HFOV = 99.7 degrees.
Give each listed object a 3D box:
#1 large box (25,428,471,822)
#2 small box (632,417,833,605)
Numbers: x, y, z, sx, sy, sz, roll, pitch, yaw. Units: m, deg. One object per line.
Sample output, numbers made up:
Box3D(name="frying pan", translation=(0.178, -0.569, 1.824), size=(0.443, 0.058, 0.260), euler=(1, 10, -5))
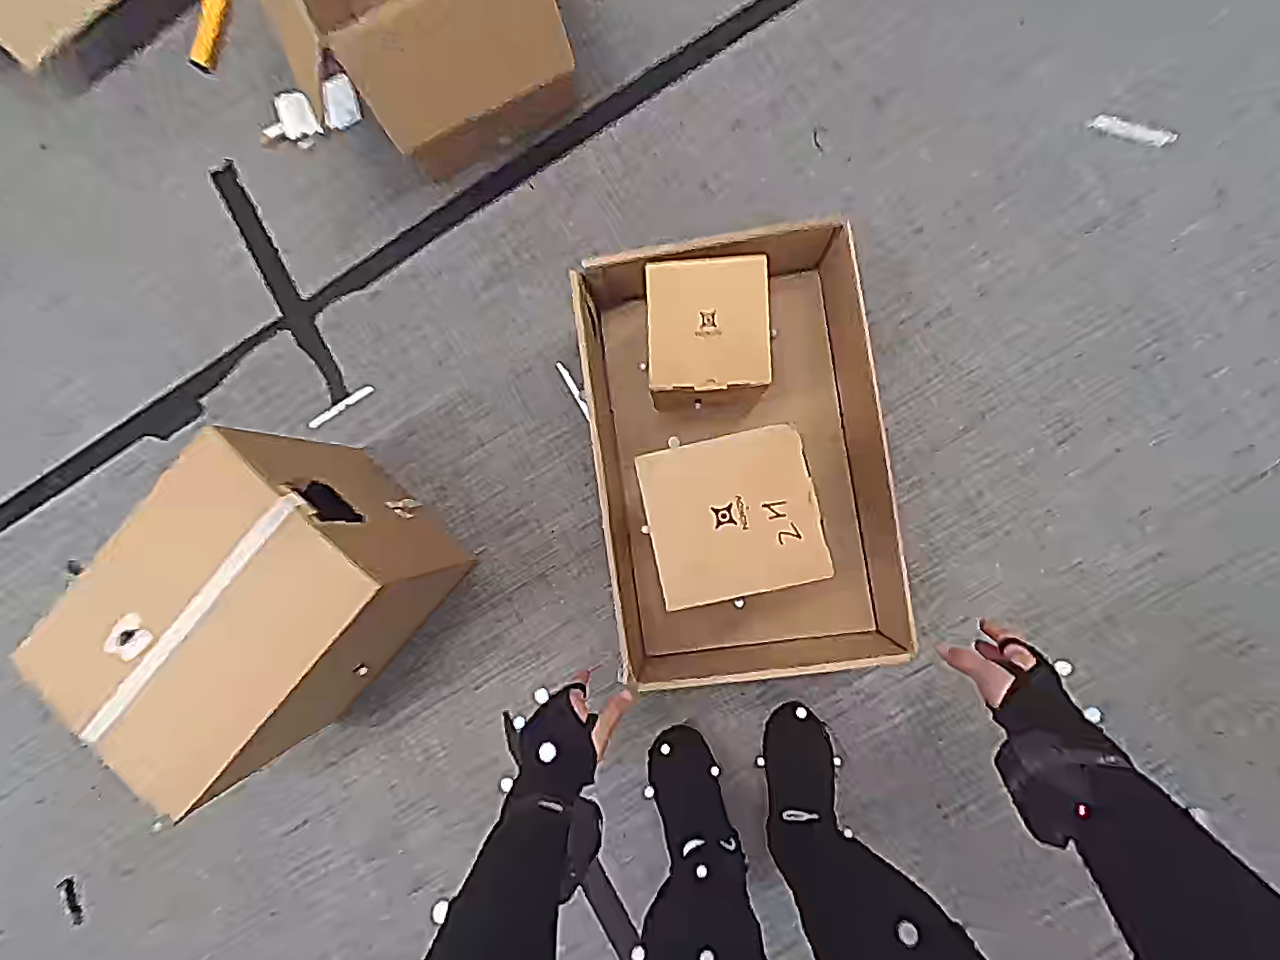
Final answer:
Box3D(name="large box", translation=(-0.542, 0.181, 0.825), size=(0.320, 0.320, 0.408), euler=(41, 93, 6))
Box3D(name="small box", translation=(0.099, 0.039, 0.625), size=(0.179, 0.176, 0.168), euler=(-12, 85, 4))
